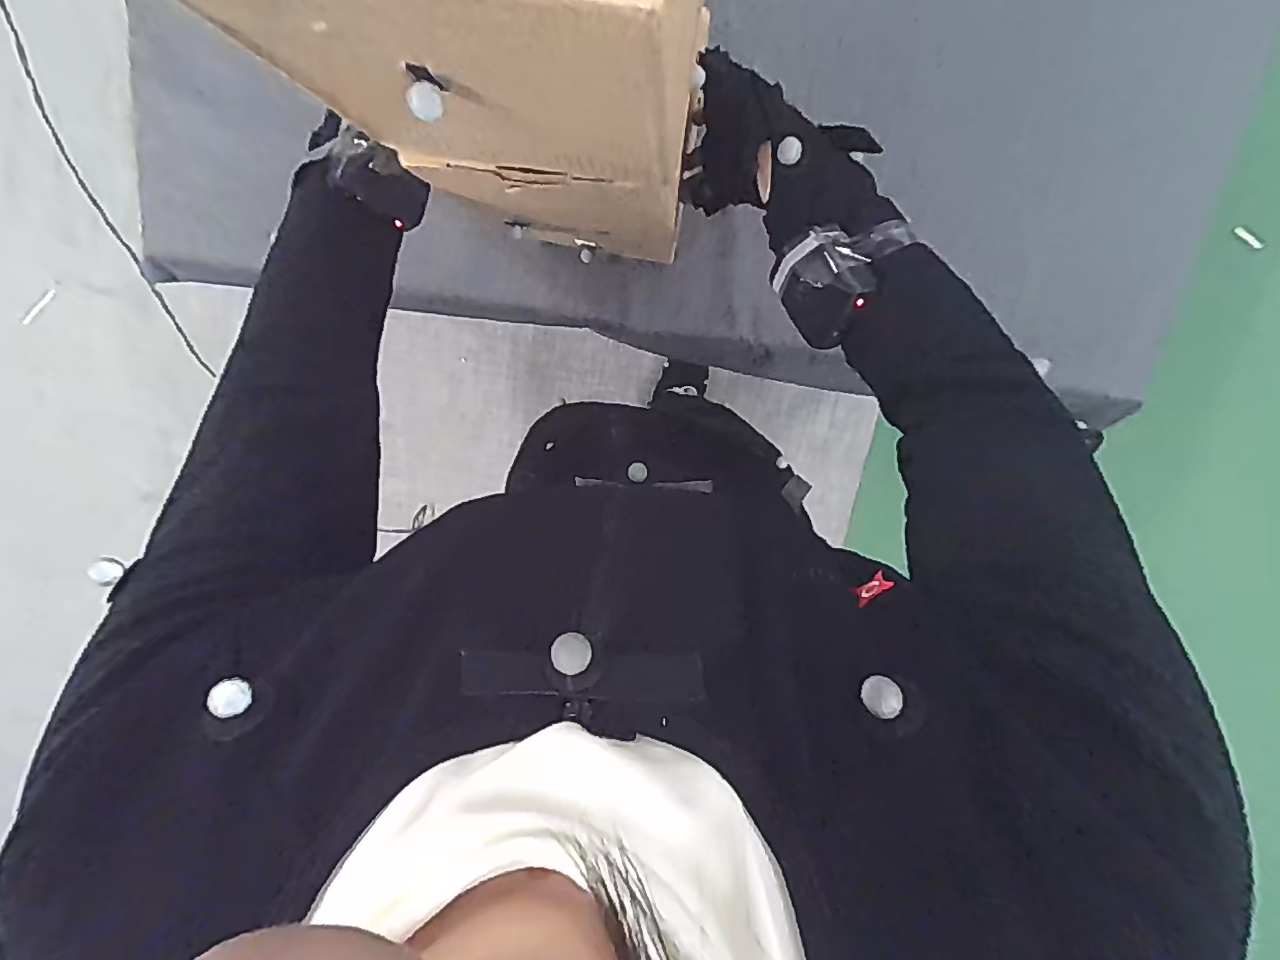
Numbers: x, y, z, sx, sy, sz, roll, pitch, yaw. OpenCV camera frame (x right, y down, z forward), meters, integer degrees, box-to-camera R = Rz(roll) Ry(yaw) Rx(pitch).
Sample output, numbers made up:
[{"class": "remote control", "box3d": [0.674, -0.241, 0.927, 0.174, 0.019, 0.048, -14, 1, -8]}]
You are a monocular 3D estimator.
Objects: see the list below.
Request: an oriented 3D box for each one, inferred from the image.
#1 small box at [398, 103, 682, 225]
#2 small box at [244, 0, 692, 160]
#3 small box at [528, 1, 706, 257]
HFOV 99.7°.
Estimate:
[{"class": "small box", "box3d": [-0.055, -0.290, 0.383, 0.168, 0.176, 0.179, 4, 104, 5]}, {"class": "small box", "box3d": [-0.065, -0.257, 0.226, 0.179, 0.176, 0.168, 6, 101, 3]}, {"class": "small box", "box3d": [-0.034, -0.338, 0.539, 0.168, 0.176, 0.179, 10, 105, 3]}]
